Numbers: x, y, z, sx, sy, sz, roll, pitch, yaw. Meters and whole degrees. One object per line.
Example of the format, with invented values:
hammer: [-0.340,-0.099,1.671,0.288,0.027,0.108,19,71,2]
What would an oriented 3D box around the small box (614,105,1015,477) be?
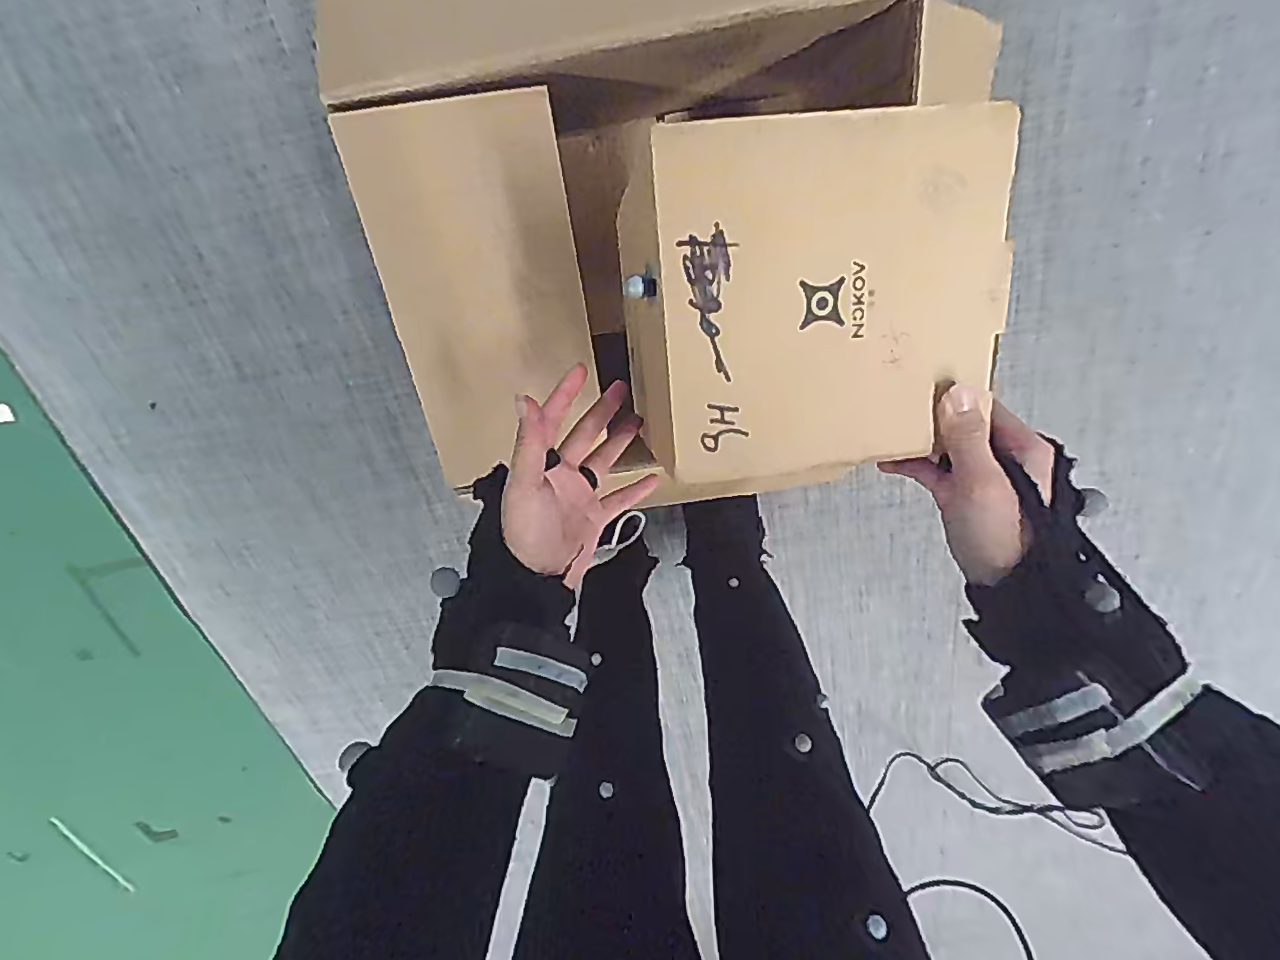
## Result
small box: [0.084,-0.109,0.339,0.179,0.176,0.168,-7,106,-6]
